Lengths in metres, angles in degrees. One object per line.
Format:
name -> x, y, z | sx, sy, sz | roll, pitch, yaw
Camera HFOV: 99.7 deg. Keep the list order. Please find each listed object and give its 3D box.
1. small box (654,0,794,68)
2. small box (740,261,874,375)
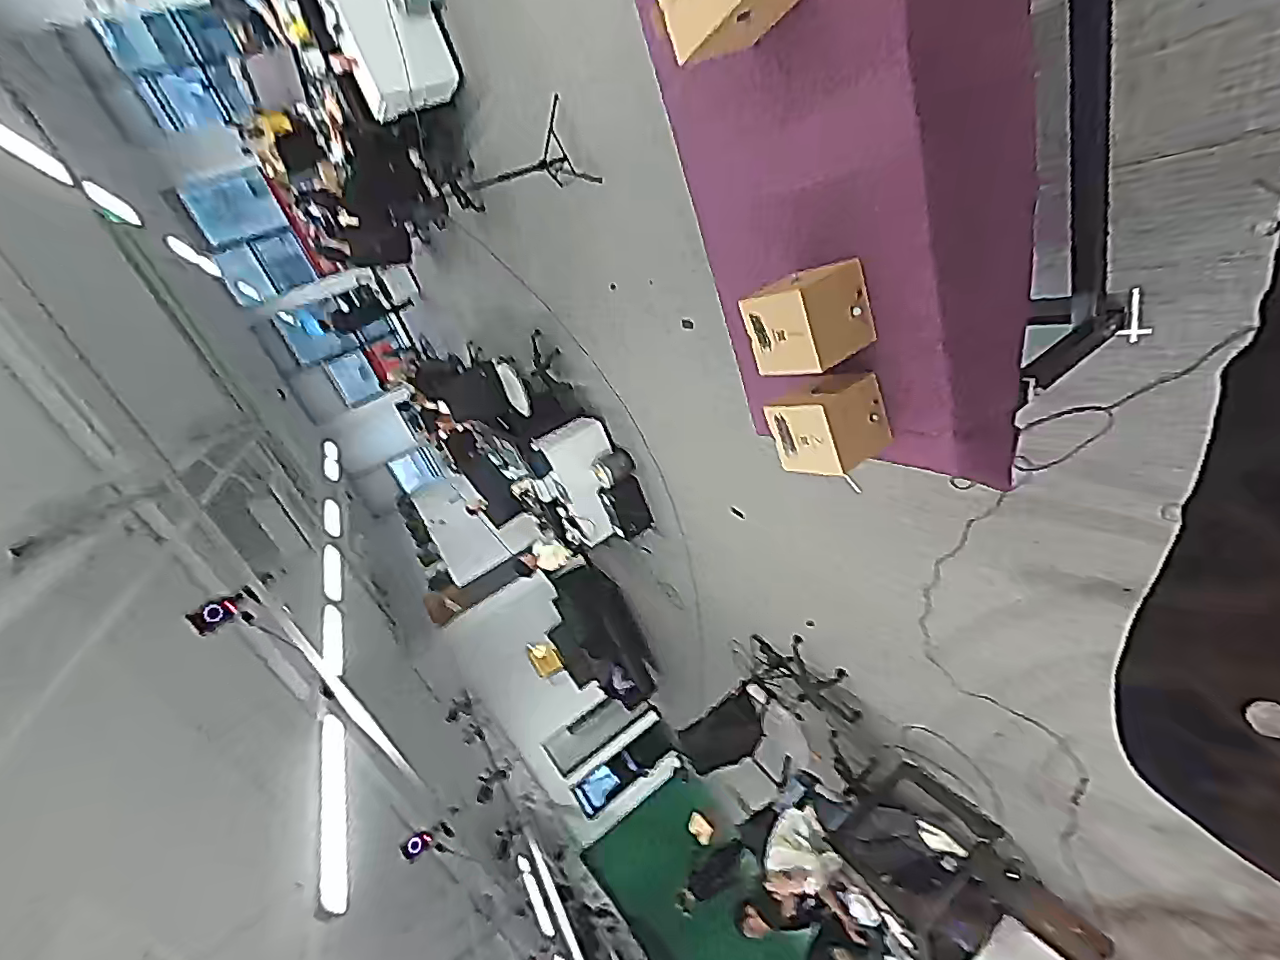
small box -> 0.136, -0.814, 0.865 | 0.179, 0.176, 0.168 | 16, 134, 63
small box -> 0.340, -0.325, 1.102 | 0.179, 0.176, 0.168 | 18, 136, 60
